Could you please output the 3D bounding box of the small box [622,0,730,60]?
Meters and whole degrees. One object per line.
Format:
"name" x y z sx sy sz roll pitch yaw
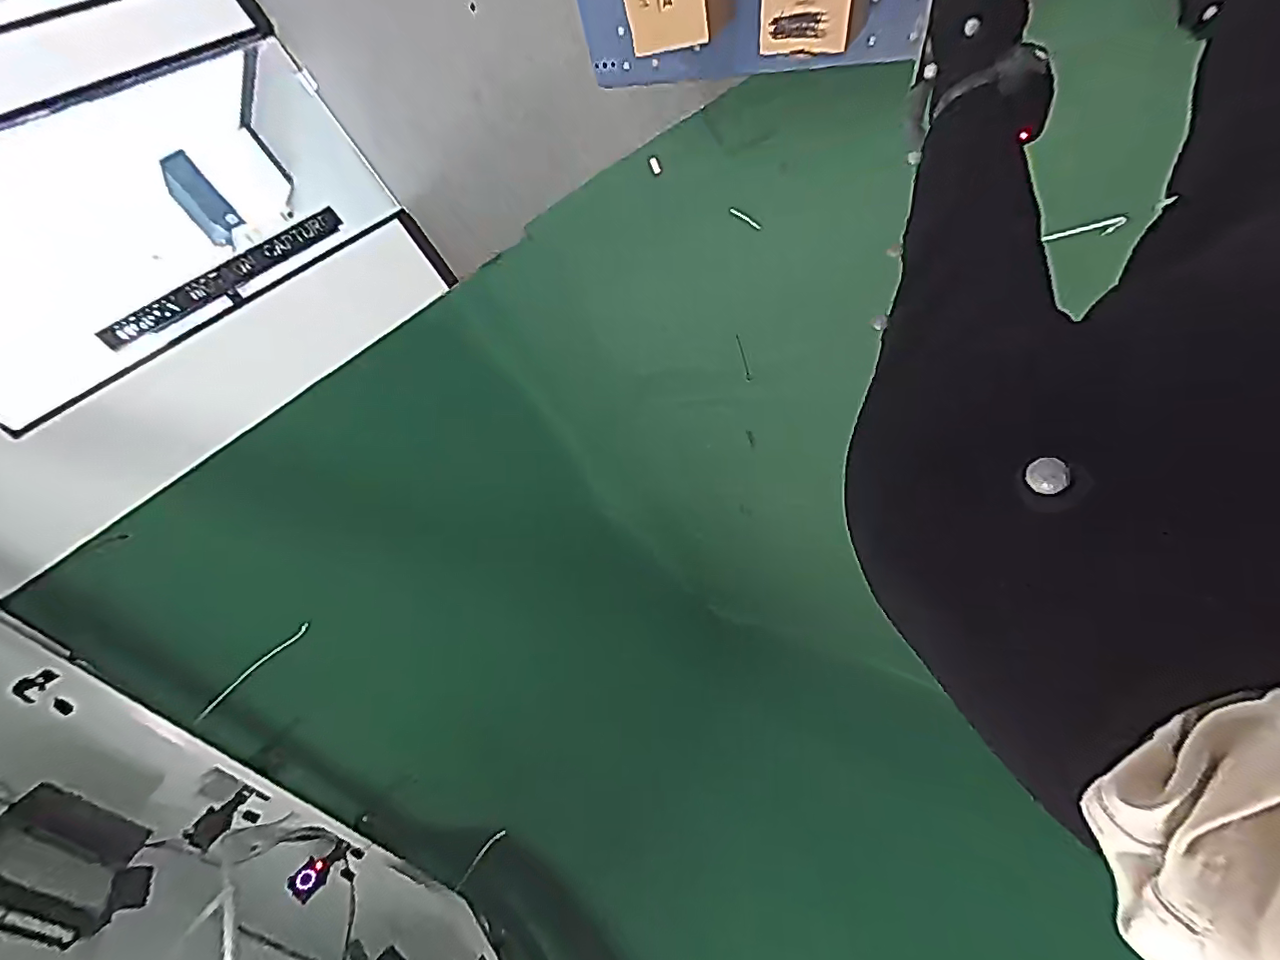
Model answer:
"small box" 0.078 -1.010 1.120 0.179 0.176 0.168 11 142 27
